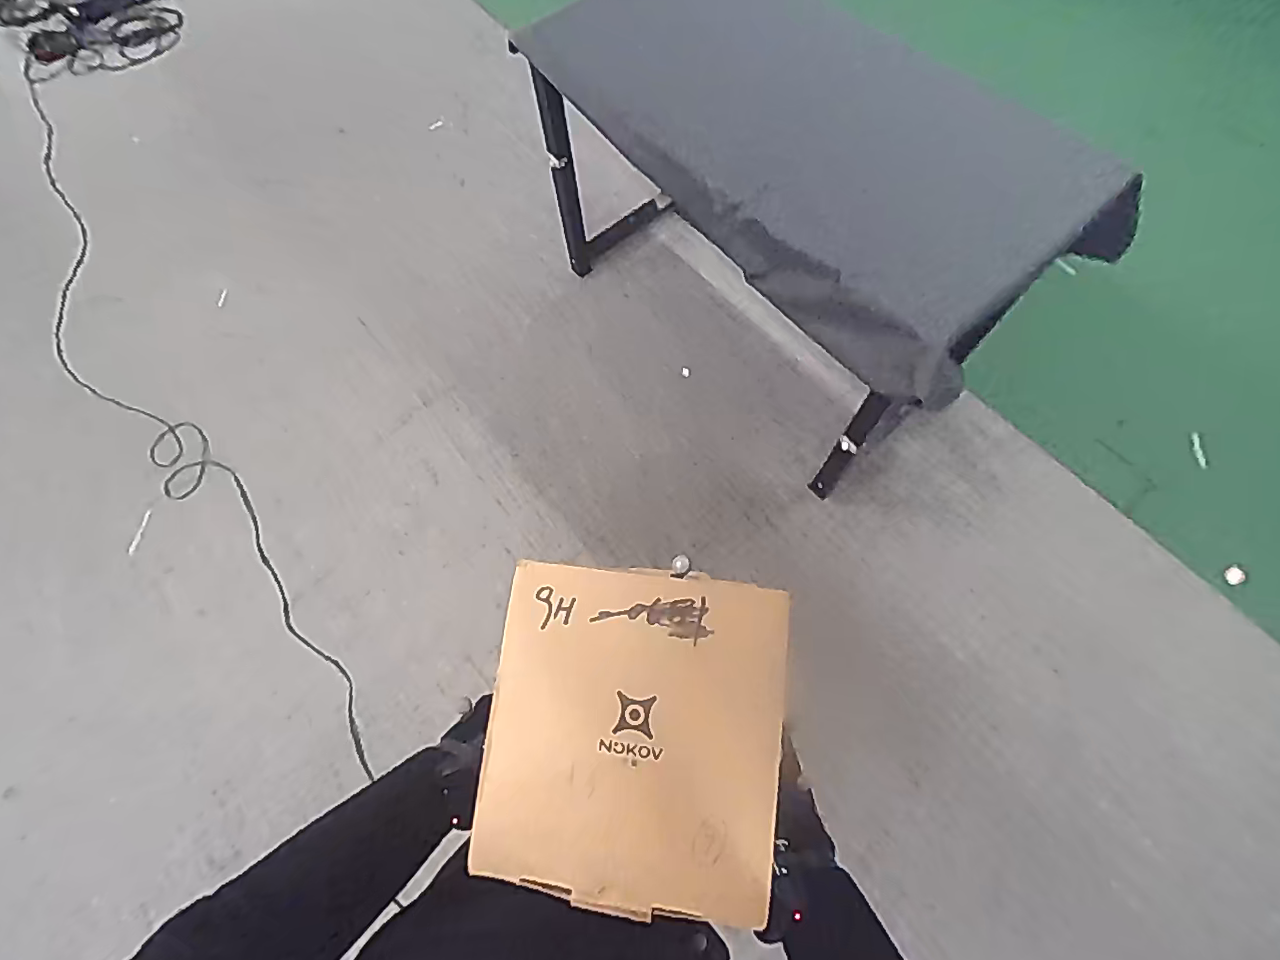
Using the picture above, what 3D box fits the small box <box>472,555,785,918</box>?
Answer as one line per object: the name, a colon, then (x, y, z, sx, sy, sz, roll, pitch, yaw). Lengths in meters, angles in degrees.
small box: (0.003, 0.151, 0.384, 0.168, 0.176, 0.179, 5, 81, 7)
